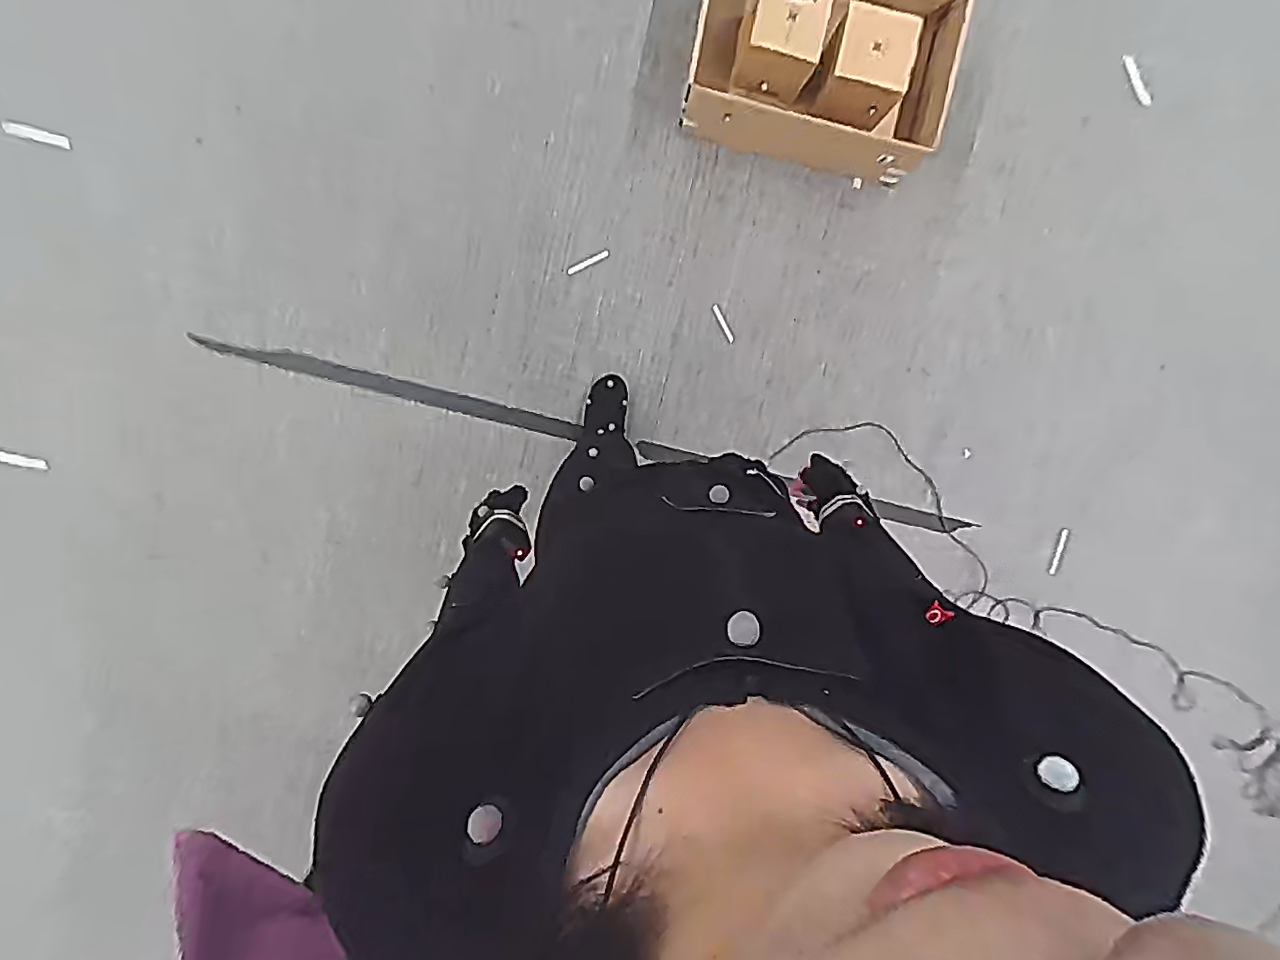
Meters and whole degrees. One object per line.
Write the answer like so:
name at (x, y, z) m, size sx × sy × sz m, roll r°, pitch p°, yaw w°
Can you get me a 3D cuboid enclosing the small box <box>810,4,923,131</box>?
small box at (0.542, -0.988, 1.313) m, size 0.179 × 0.176 × 0.168 m, roll 12°, pitch 95°, yaw -3°
